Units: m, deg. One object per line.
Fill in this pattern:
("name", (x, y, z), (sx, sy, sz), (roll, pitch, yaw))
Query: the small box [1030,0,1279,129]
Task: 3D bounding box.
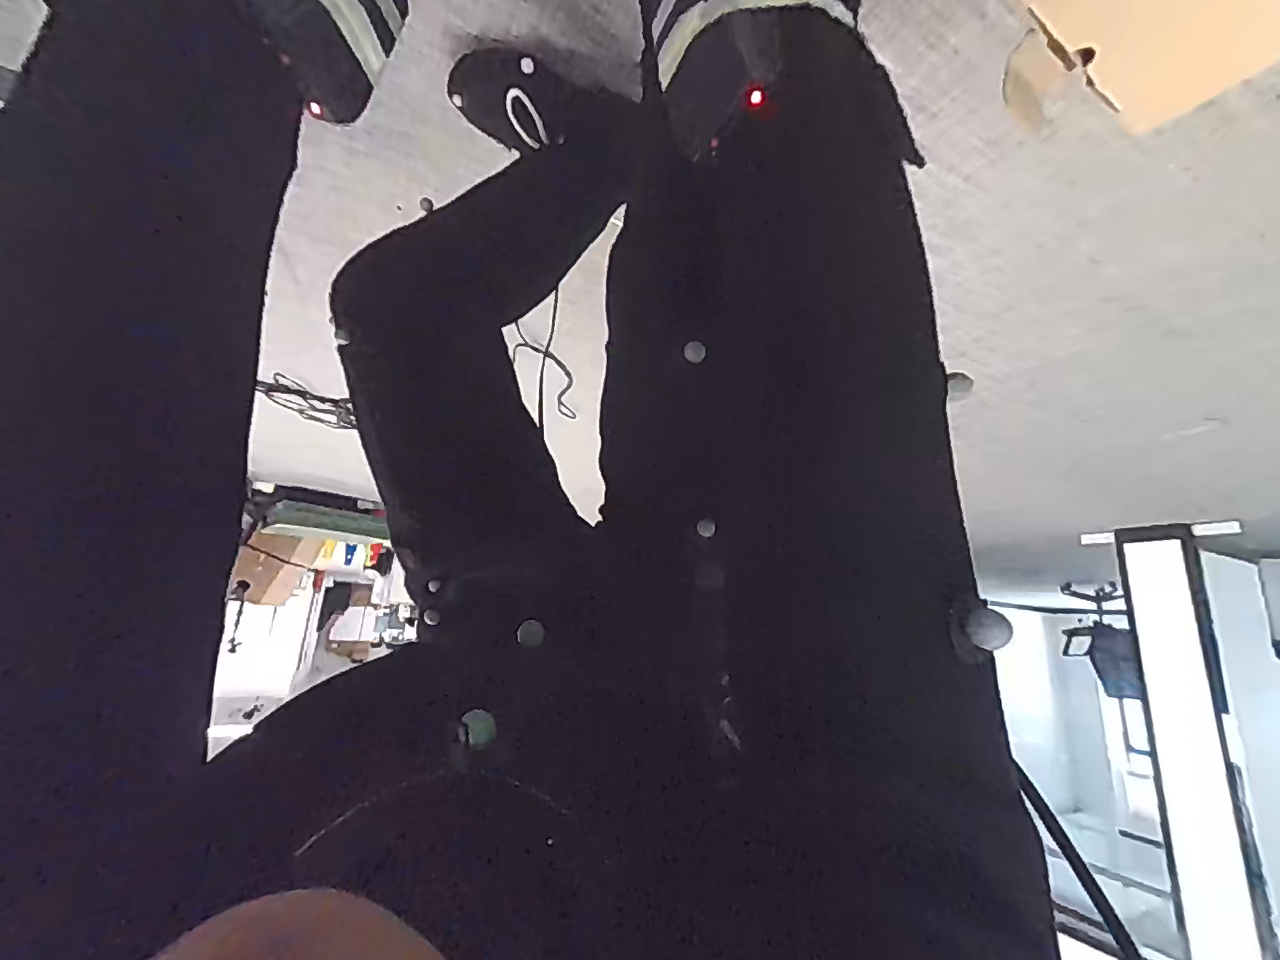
("small box", (0.278, -0.317, 0.233), (0.168, 0.176, 0.179), (11, 164, -29))
